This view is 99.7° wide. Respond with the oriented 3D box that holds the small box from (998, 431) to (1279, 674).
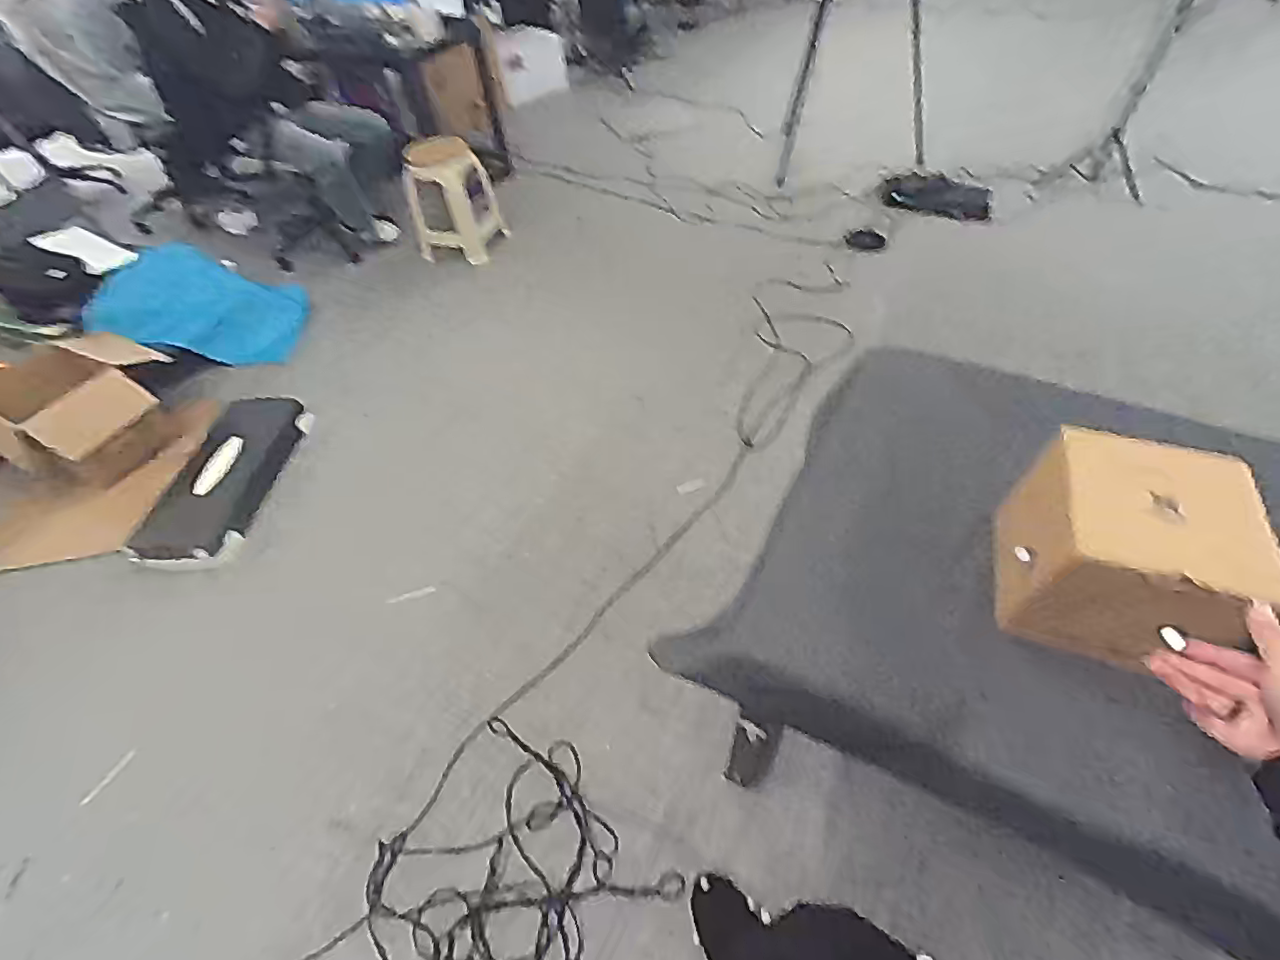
[{"bbox_3d":[0.512,0.080,0.581,0.168,0.176,0.179,15,53,16],"label":"small box"}]
